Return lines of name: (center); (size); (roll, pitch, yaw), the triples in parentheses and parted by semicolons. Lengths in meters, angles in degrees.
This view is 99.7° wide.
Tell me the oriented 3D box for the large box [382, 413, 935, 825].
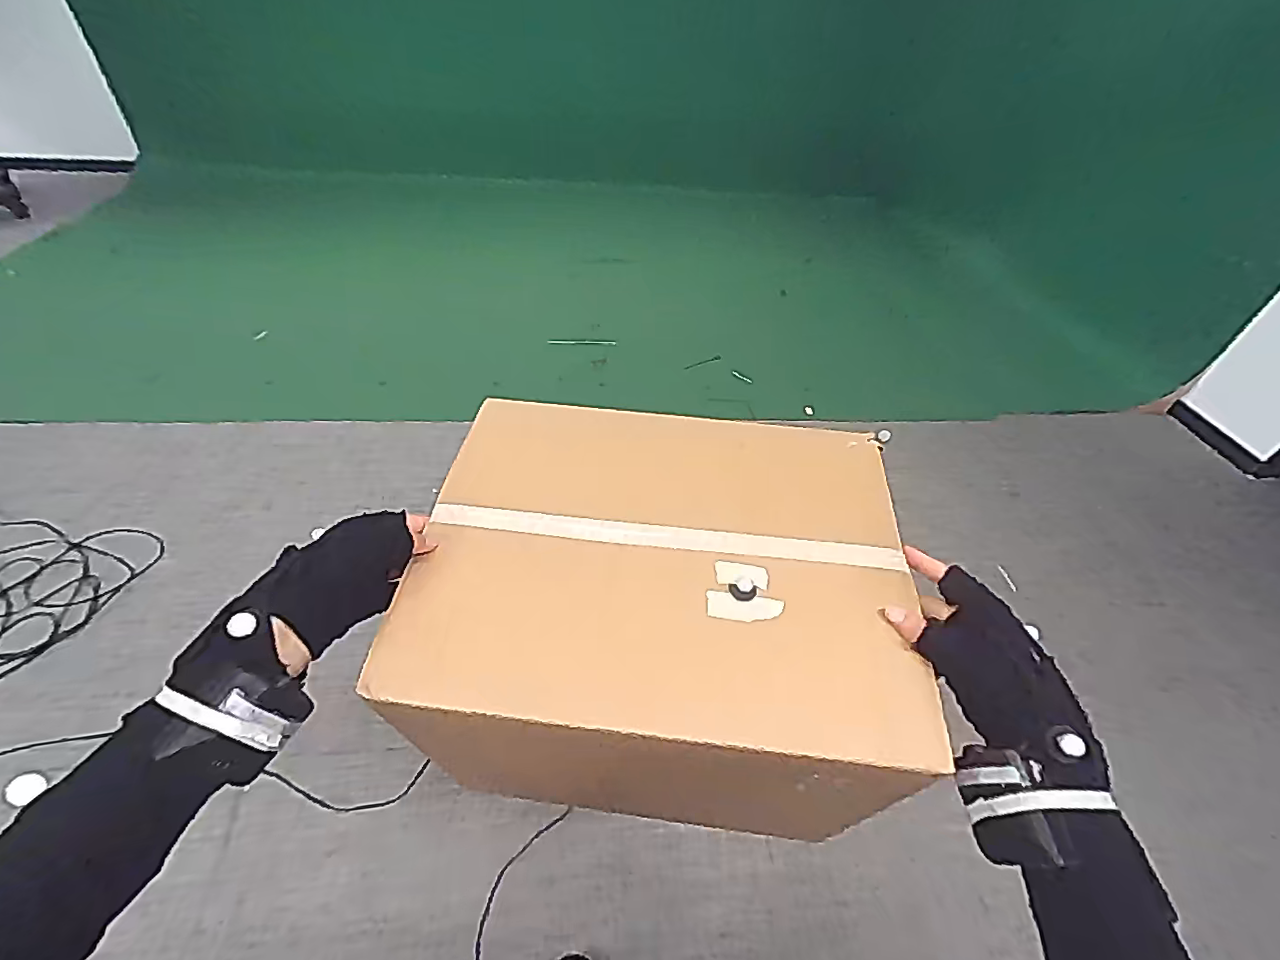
large box: (0.019, 0.153, 0.589); (0.408, 0.320, 0.320); (5, 50, 4)
